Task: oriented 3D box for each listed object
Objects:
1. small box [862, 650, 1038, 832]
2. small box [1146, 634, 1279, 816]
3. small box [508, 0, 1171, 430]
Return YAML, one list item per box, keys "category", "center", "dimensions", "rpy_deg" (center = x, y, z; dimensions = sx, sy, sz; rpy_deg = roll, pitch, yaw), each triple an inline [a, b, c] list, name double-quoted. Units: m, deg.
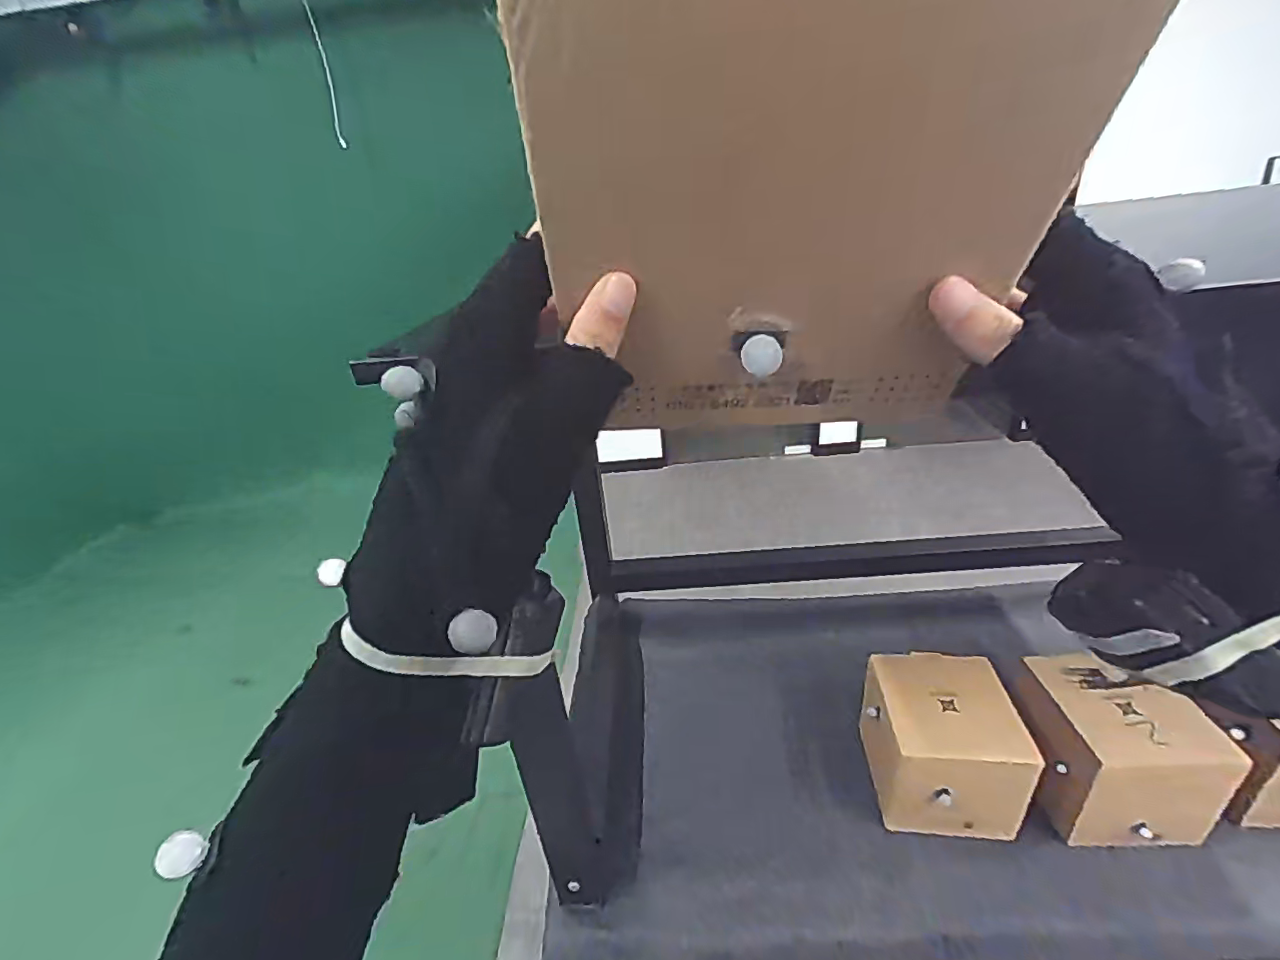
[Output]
- category: "small box"
  center: [0.429, 0.372, 0.781]
  dimensions: [0.168, 0.176, 0.179]
  rpy_deg: [-1, 28, 10]
- category: "small box"
  center: [0.868, 0.338, 0.745]
  dimensions: [0.168, 0.176, 0.179]
  rpy_deg: [-3, 27, 7]
- category: "small box"
  center: [0.050, -0.141, 0.236]
  dimensions: [0.168, 0.176, 0.179]
  rpy_deg: [-2, 54, 2]
